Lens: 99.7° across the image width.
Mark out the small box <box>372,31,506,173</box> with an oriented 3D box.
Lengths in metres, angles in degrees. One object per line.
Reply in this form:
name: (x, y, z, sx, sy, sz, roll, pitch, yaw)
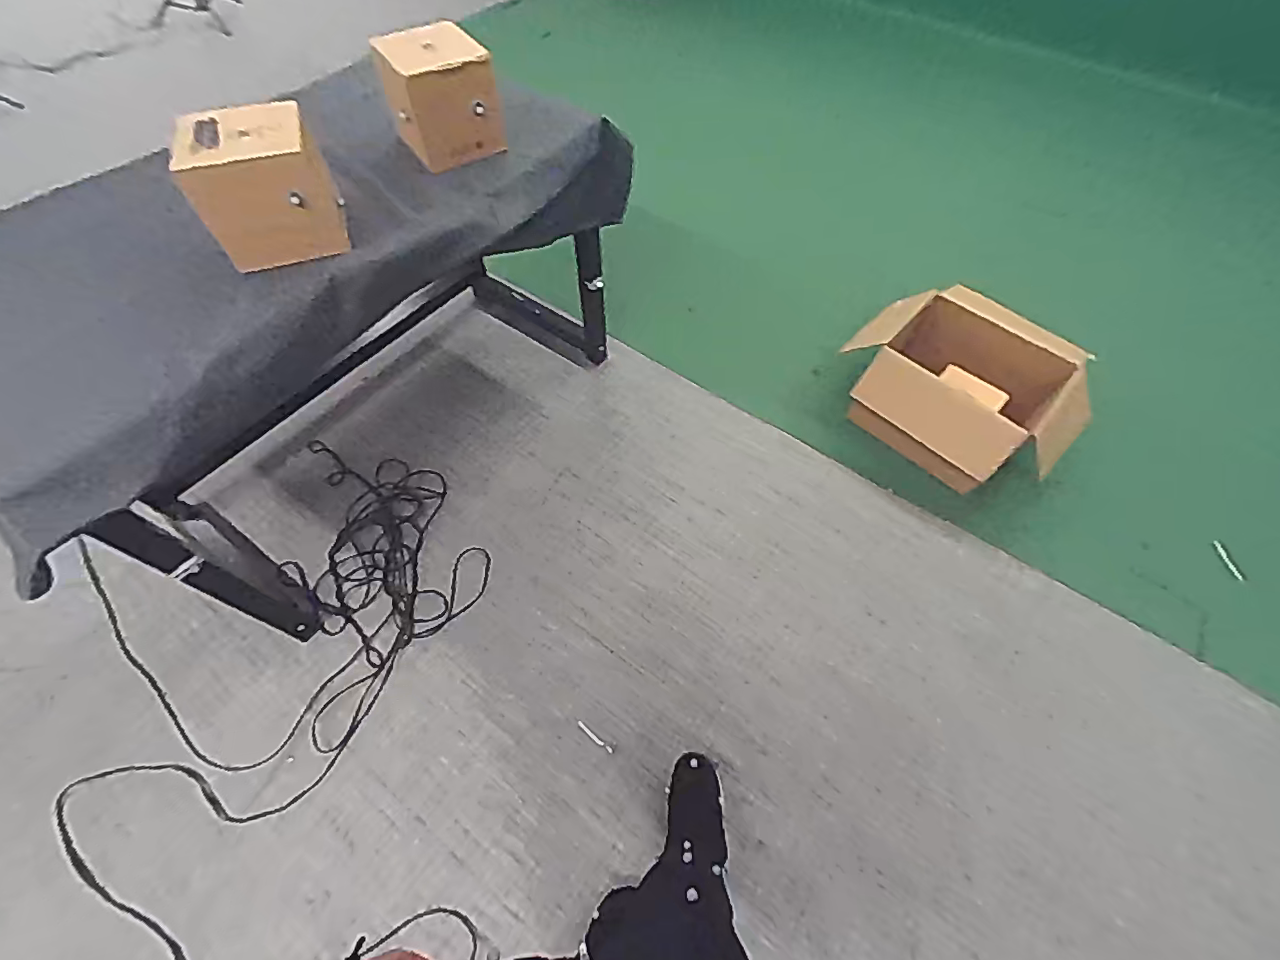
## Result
small box: (-0.380, -0.726, 1.049, 0.168, 0.176, 0.179, -30, 62, -19)
